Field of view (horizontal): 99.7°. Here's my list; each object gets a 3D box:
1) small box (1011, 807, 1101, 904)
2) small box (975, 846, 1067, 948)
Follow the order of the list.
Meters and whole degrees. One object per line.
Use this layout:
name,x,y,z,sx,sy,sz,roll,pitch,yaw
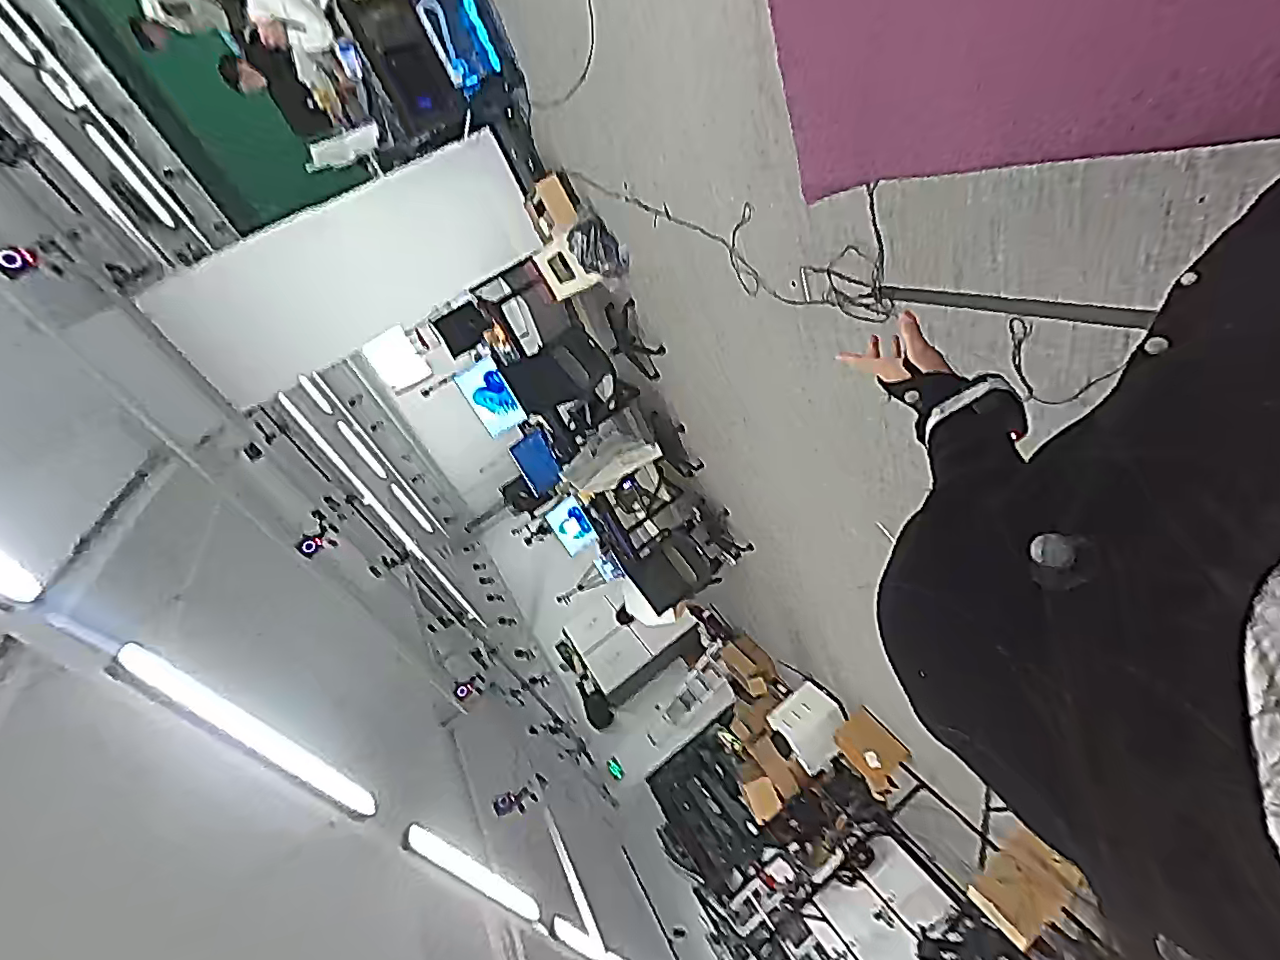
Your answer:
small box,1.274,1.154,1.663,0.168,0.176,0.179,38,161,51
small box,1.148,1.251,1.631,0.168,0.176,0.179,40,163,51
